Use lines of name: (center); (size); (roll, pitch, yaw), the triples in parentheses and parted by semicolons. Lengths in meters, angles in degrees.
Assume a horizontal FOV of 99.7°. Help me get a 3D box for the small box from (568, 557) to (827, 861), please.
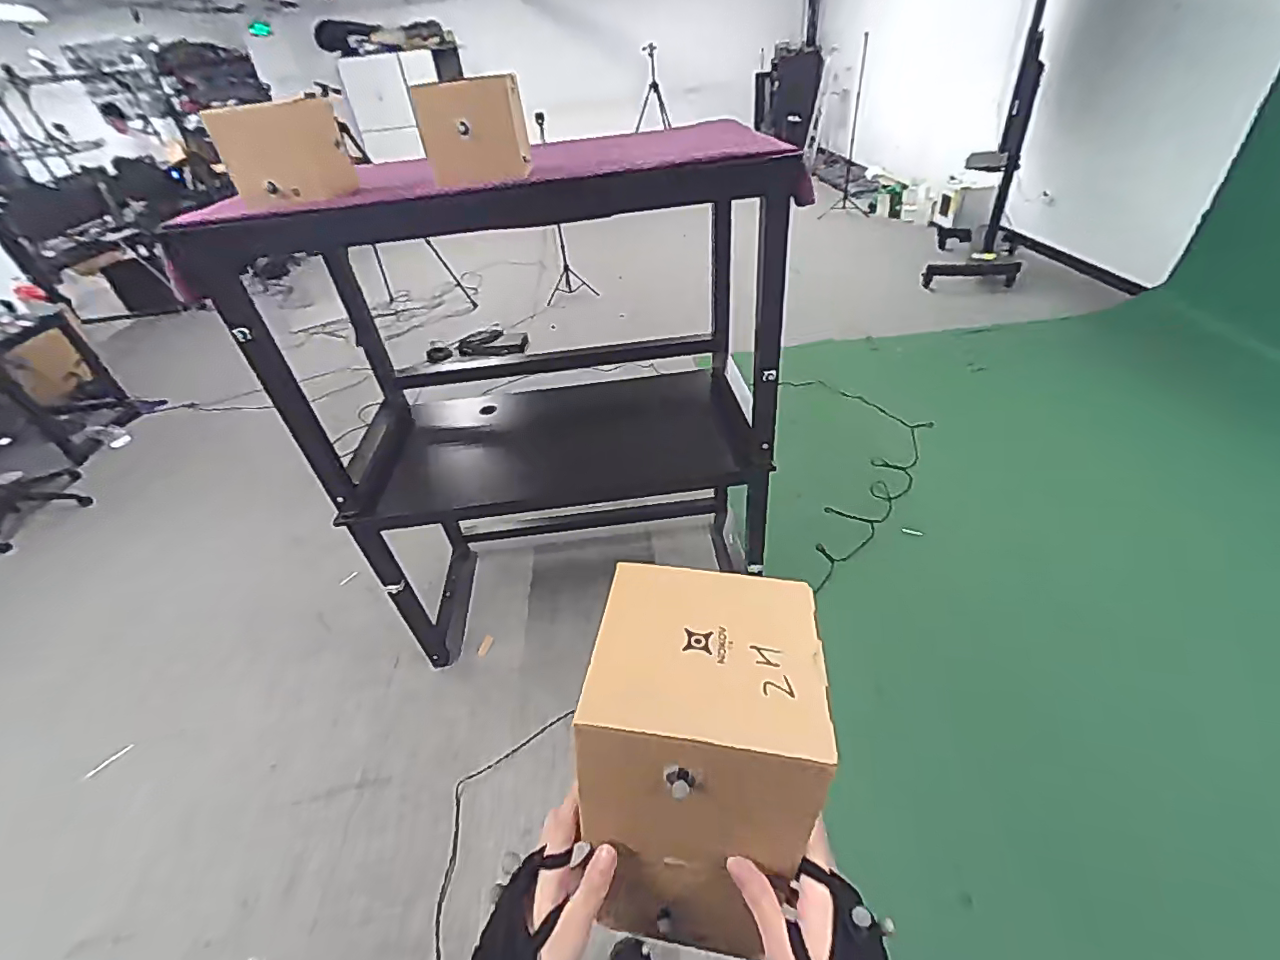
small box: (0.048, 0.190, 0.464); (0.179, 0.176, 0.168); (6, 33, 7)

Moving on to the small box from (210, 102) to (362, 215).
small box: (-0.679, -0.634, 1.066); (0.168, 0.176, 0.179); (-8, 38, -1)

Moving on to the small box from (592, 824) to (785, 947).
small box: (0.050, 0.327, 0.556); (0.168, 0.176, 0.179); (7, 33, 8)

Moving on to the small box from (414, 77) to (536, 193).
small box: (-0.314, -0.687, 1.077); (0.179, 0.176, 0.168); (-7, 37, 2)
